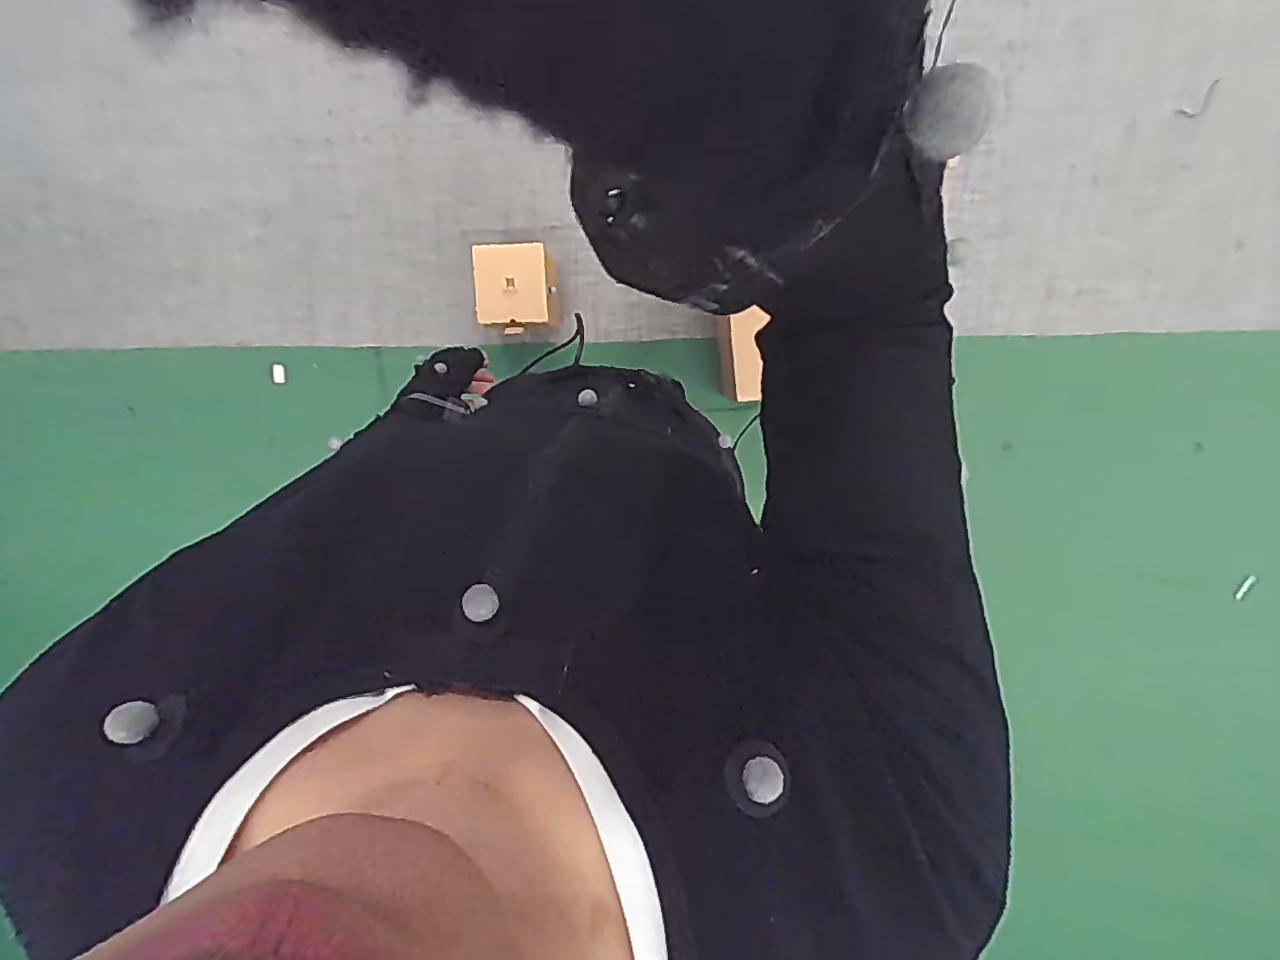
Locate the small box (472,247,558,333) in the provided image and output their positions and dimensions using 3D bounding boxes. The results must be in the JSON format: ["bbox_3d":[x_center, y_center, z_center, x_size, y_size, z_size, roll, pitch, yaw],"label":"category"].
[{"bbox_3d":[-0.299,-0.458,1.321,0.168,0.176,0.179,-2,101,2],"label":"small box"}]
